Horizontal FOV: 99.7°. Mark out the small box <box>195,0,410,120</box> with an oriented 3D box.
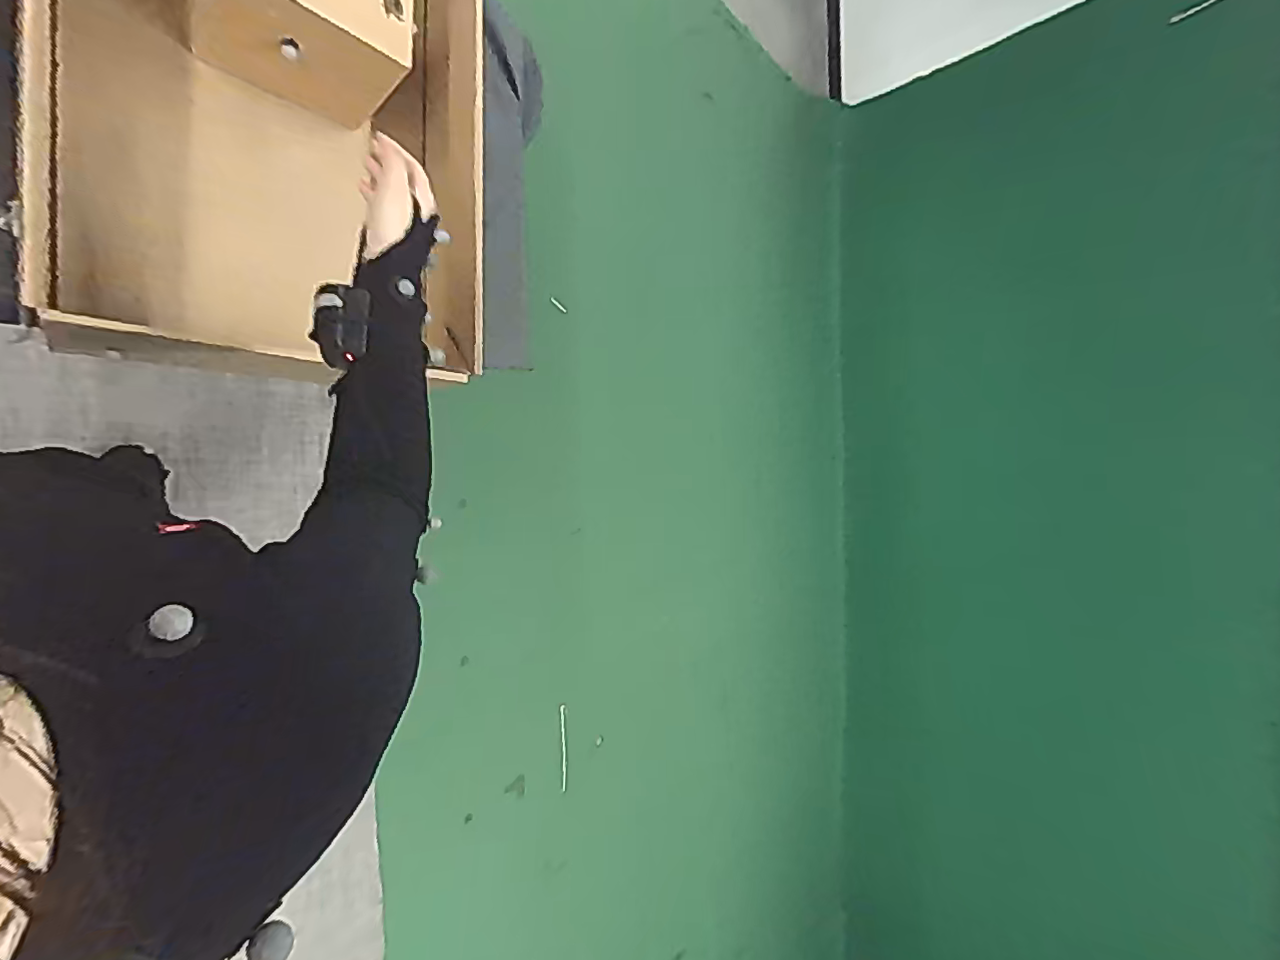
[{"bbox_3d":[-0.377,-0.549,0.604,0.179,0.176,0.168,1,91,-46],"label":"small box"}]
